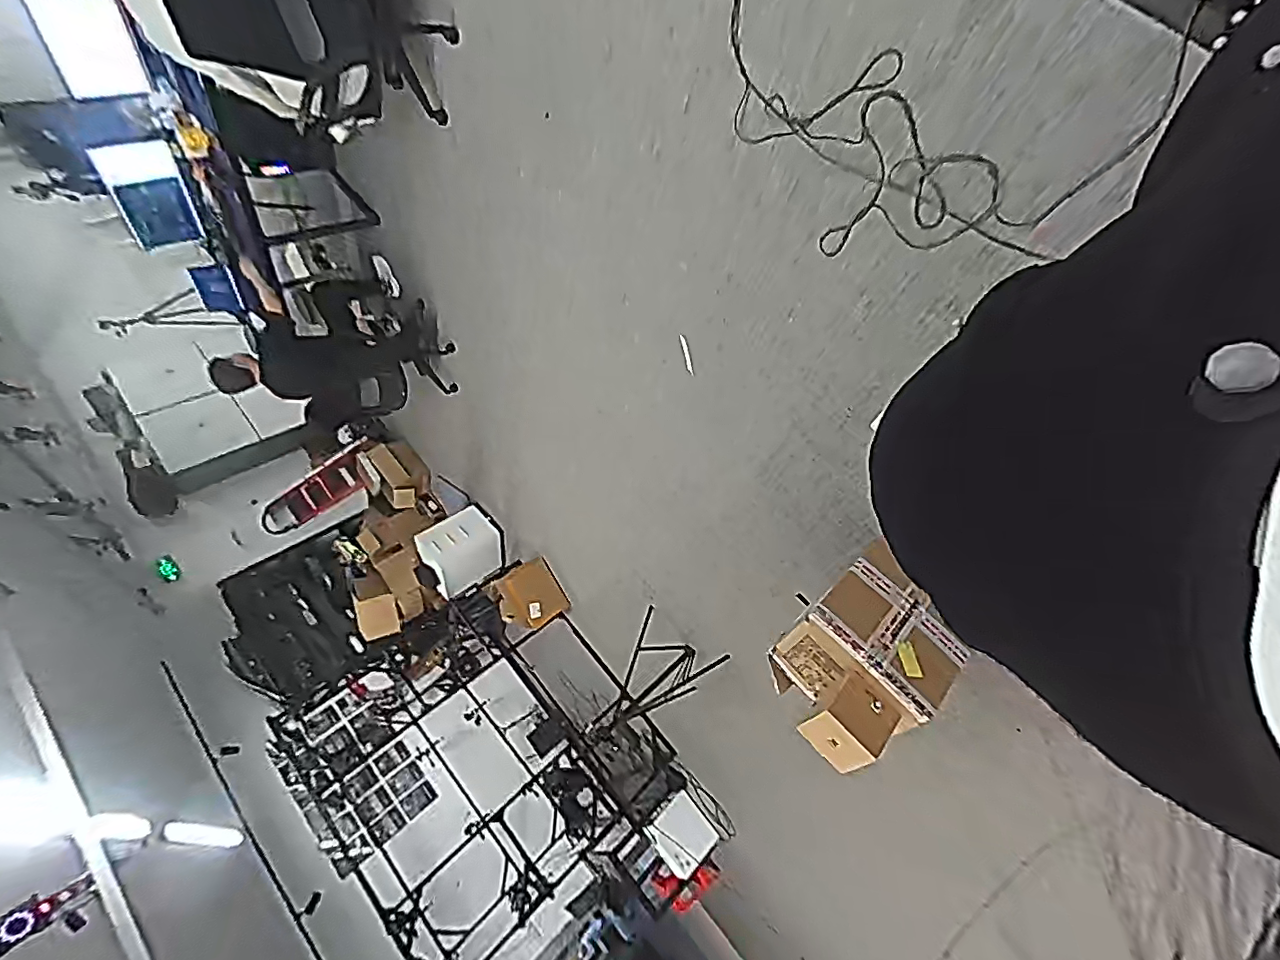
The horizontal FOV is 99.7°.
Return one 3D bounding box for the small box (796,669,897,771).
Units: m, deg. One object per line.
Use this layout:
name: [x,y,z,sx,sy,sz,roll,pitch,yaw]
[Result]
small box: [0.574,0.662,1.498,0.168,0.176,0.179,43,140,18]
